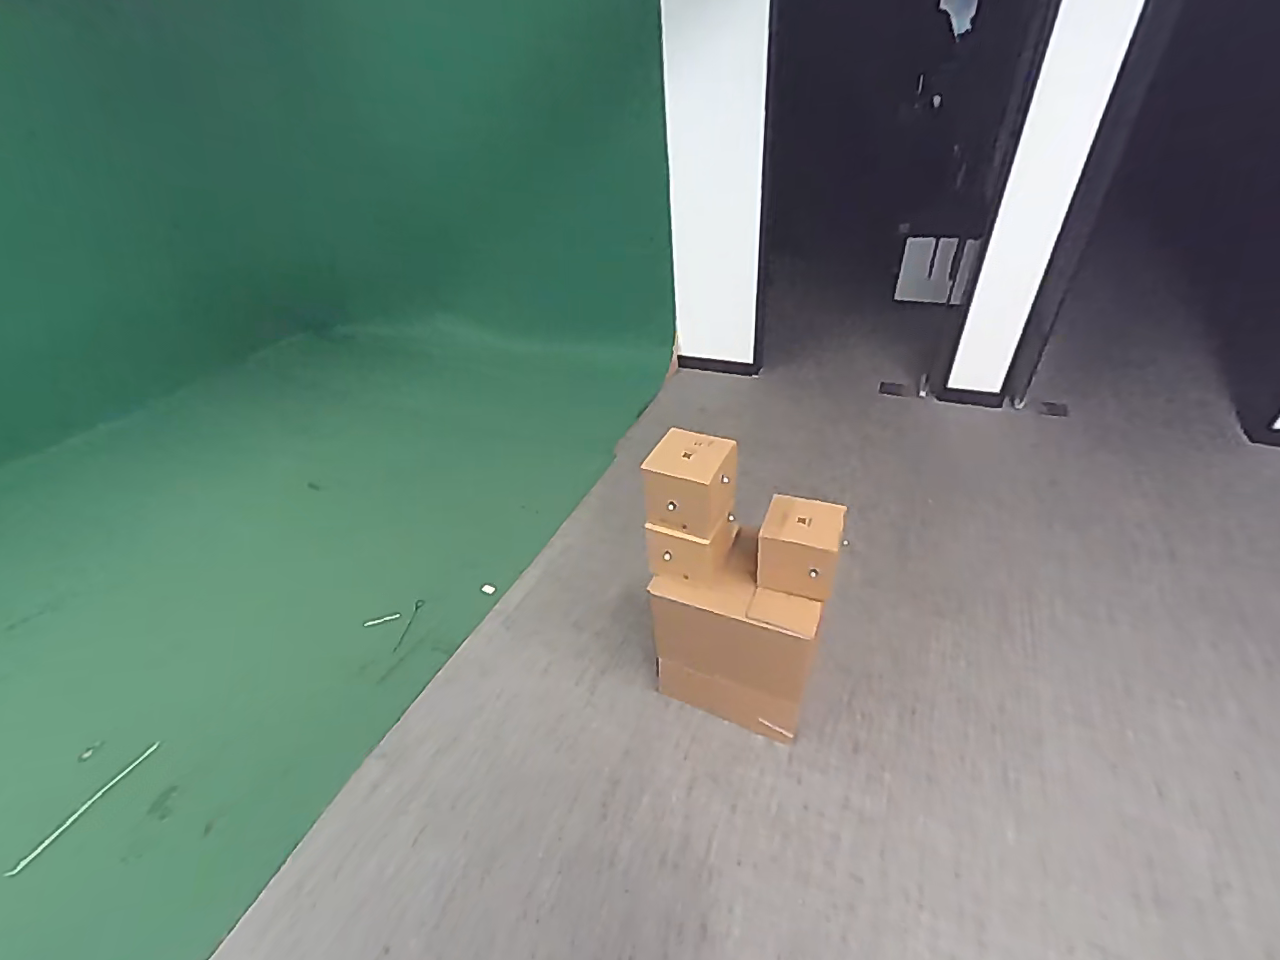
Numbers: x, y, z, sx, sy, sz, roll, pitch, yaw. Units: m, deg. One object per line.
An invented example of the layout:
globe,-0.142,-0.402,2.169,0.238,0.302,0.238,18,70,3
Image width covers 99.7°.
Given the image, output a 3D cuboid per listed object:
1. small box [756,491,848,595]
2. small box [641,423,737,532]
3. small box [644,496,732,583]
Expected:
small box,0.388,0.154,1.304,0.179,0.176,0.168,11,40,23
small box,0.120,-0.005,1.270,0.168,0.176,0.179,17,44,23
small box,0.126,0.131,1.364,0.168,0.176,0.179,15,43,22
